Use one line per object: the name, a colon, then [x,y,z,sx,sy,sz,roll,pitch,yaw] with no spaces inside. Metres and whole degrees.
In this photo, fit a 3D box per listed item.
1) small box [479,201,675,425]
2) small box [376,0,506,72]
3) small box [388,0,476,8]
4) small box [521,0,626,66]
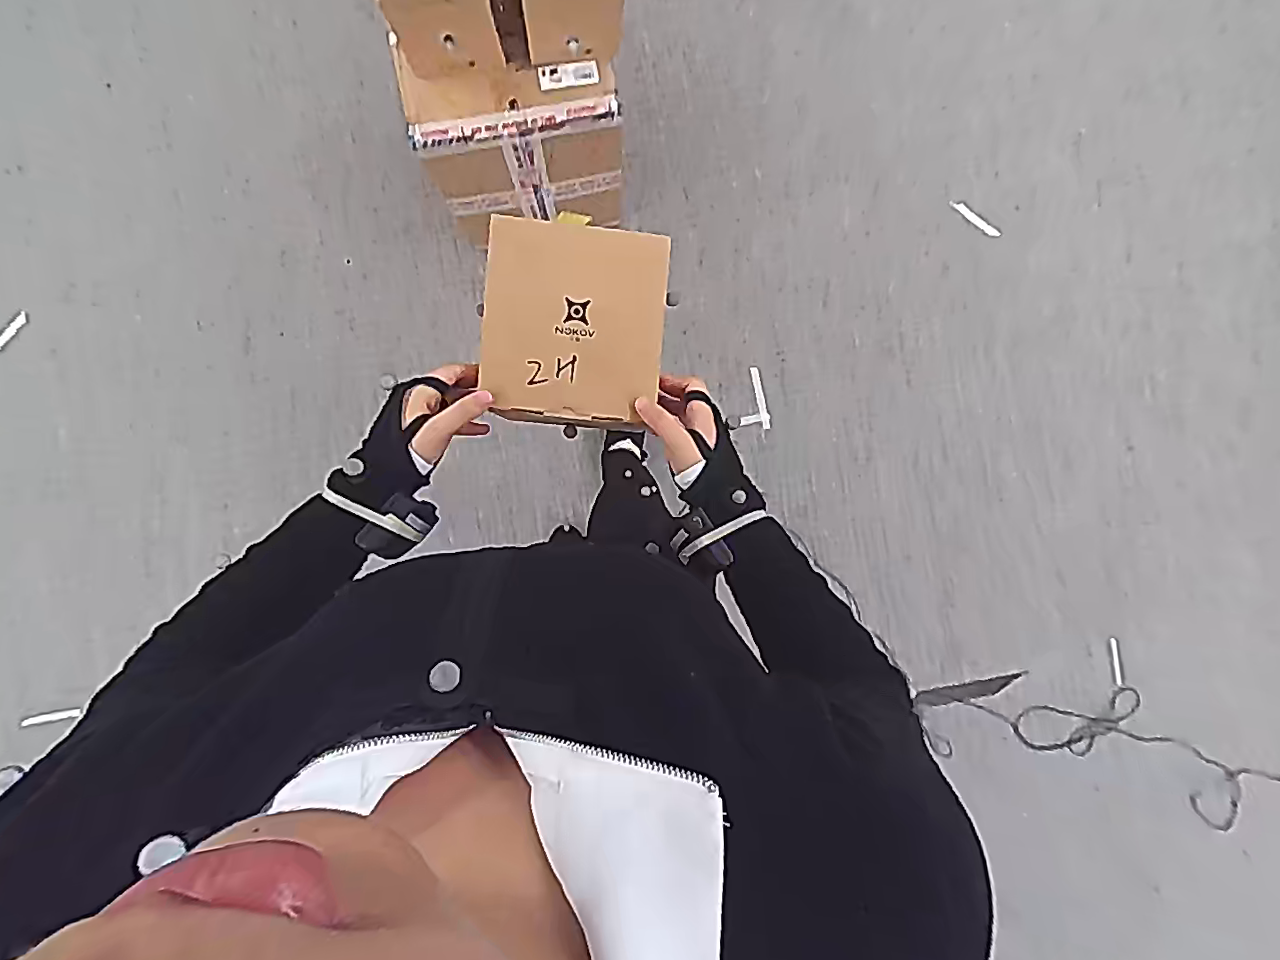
small box: [-0.063,-0.158,0.569,0.168,0.176,0.179,5,92,-5]
small box: [-0.326,-0.808,0.885,0.168,0.176,0.179,-8,94,-1]
small box: [-0.310,-0.794,0.722,0.168,0.176,0.179,-8,94,0]
small box: [-0.119,-0.837,0.895,0.168,0.176,0.179,-9,93,-4]
